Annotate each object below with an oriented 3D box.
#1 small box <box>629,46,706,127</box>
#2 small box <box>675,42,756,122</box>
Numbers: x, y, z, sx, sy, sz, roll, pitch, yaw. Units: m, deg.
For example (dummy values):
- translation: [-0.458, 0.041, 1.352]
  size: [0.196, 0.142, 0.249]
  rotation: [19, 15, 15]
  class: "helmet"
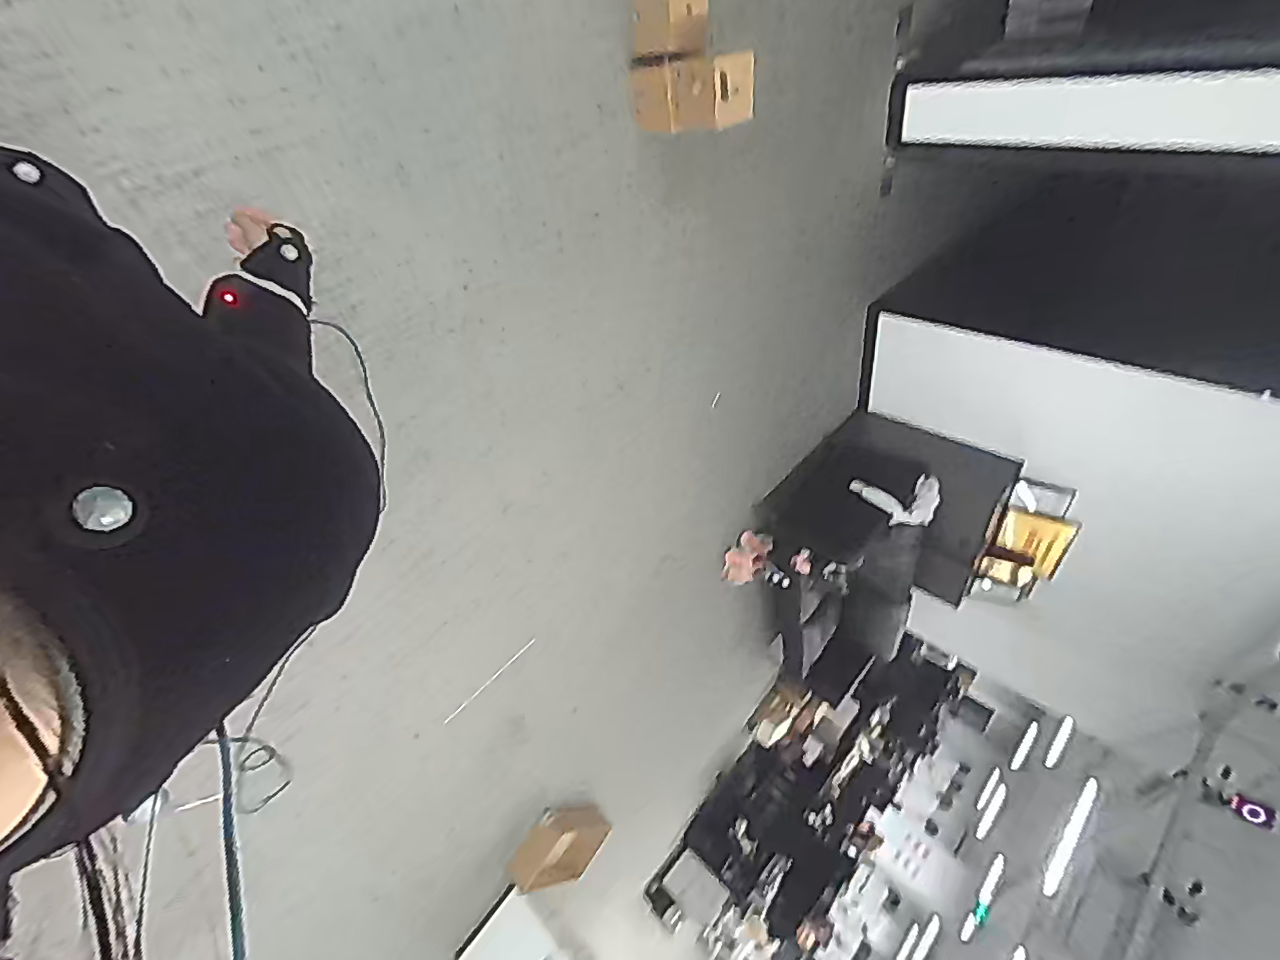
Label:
- translation: [0.094, -1.211, 1.663]
  size: [0.179, 0.176, 0.168]
  rotation: [-39, 139, -23]
  class: "small box"
- translation: [0.215, -1.151, 1.568]
  size: [0.179, 0.176, 0.168]
  rotation: [-35, 137, -28]
  class: "small box"
